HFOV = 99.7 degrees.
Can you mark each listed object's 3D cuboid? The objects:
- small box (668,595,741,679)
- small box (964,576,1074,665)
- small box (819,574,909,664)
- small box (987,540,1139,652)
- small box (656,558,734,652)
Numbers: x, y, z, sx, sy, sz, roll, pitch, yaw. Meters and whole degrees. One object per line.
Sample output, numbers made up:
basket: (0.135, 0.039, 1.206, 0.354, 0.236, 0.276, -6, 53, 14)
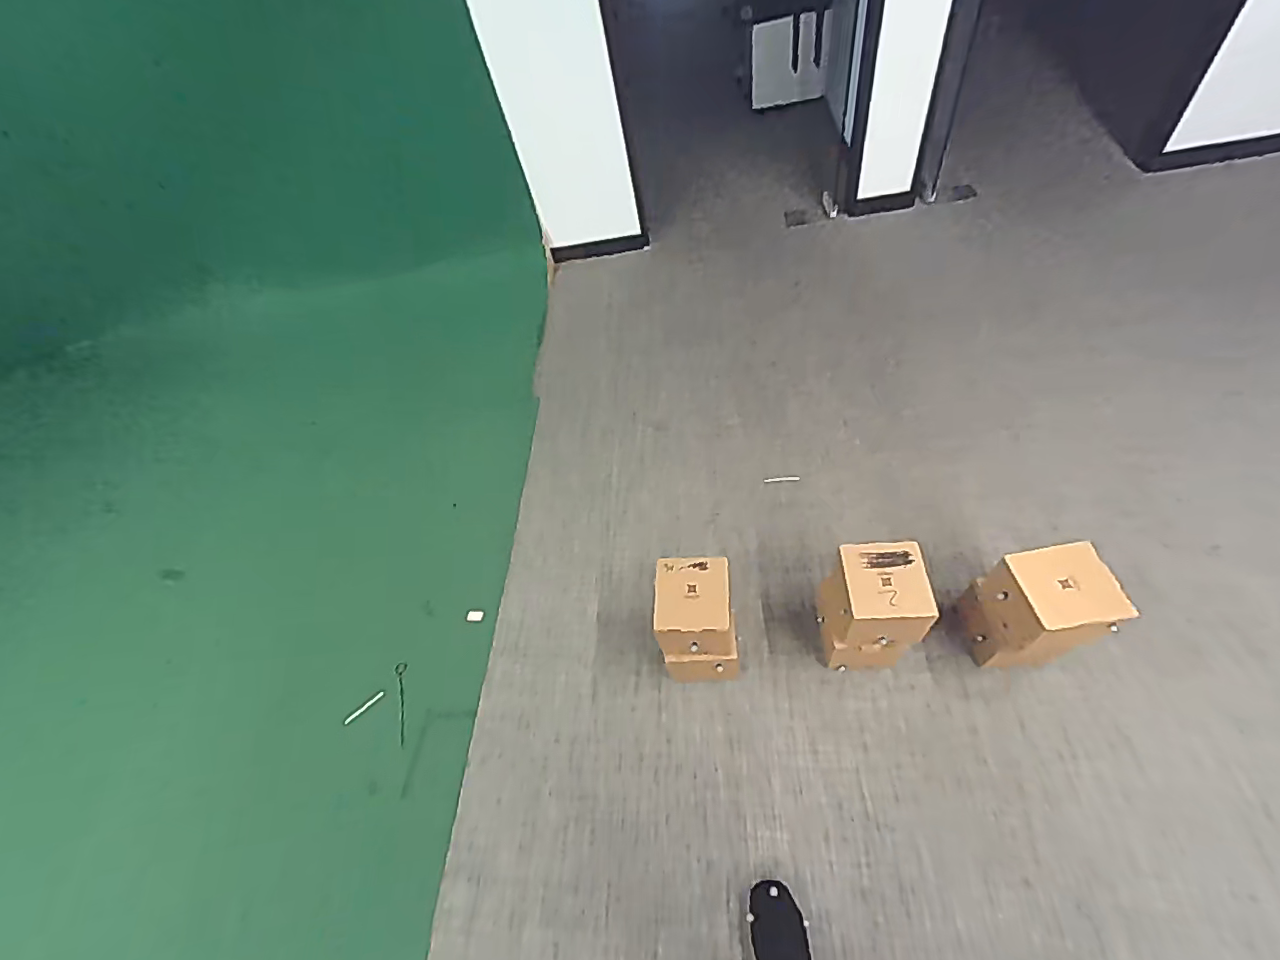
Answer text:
small box: (0.167, 0.407, 1.395, 0.179, 0.176, 0.168, -6, 53, 9)
small box: (0.896, 0.330, 1.280, 0.179, 0.176, 0.168, -7, 55, 8)
small box: (0.549, 0.352, 1.345, 0.168, 0.176, 0.179, -5, 54, 9)
small box: (0.869, 0.251, 1.141, 0.179, 0.176, 0.168, -11, 54, 4)
small box: (0.135, 0.298, 1.274, 0.168, 0.176, 0.179, -2, 55, 11)
